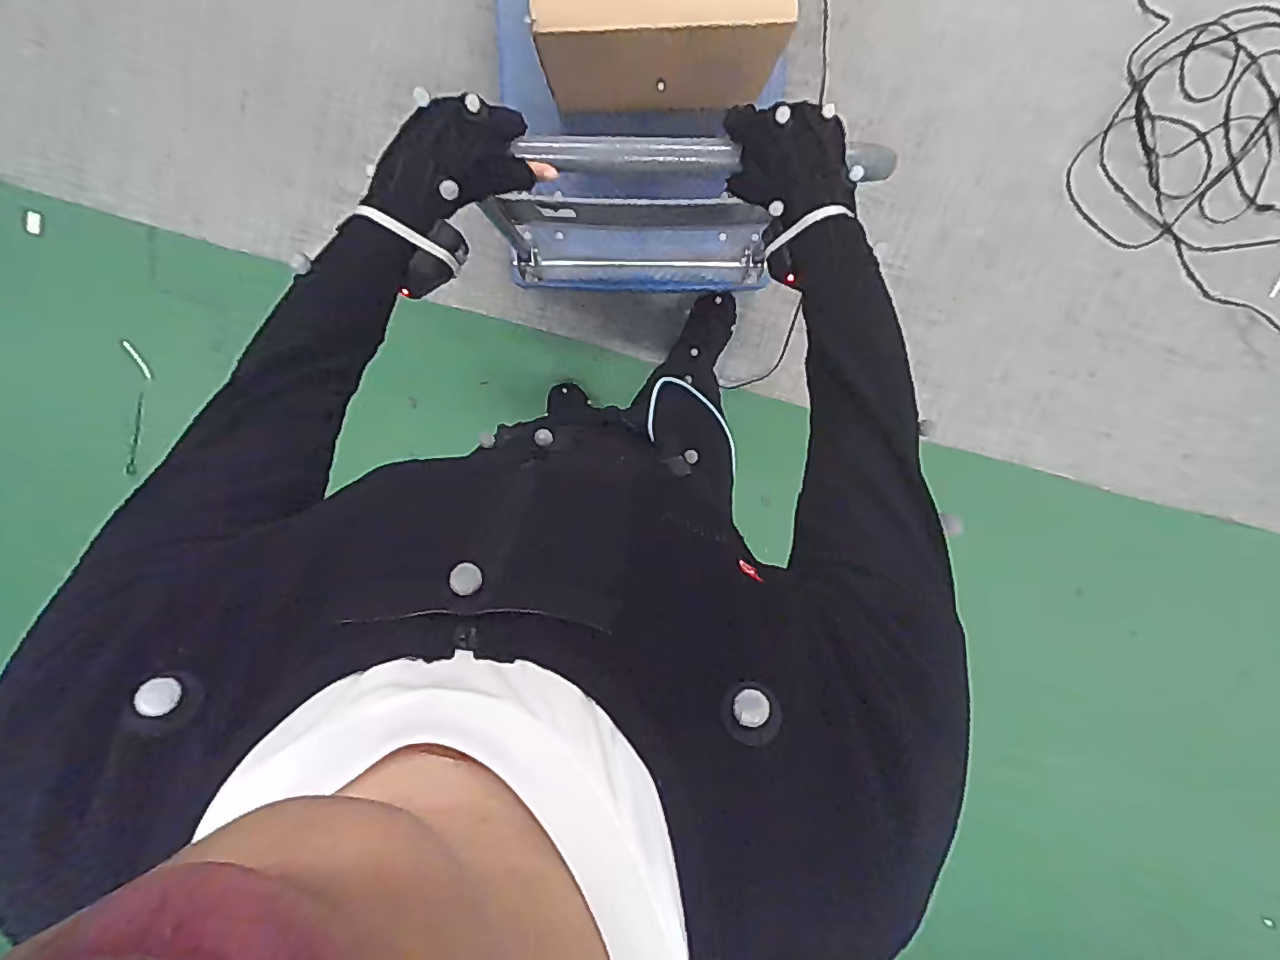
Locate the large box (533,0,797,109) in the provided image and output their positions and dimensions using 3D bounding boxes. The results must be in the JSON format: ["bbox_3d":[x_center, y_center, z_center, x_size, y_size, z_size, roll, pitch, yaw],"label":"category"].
[{"bbox_3d":[0.032,-0.873,0.922,0.408,0.320,0.320,-3,105,0],"label":"large box"}]
